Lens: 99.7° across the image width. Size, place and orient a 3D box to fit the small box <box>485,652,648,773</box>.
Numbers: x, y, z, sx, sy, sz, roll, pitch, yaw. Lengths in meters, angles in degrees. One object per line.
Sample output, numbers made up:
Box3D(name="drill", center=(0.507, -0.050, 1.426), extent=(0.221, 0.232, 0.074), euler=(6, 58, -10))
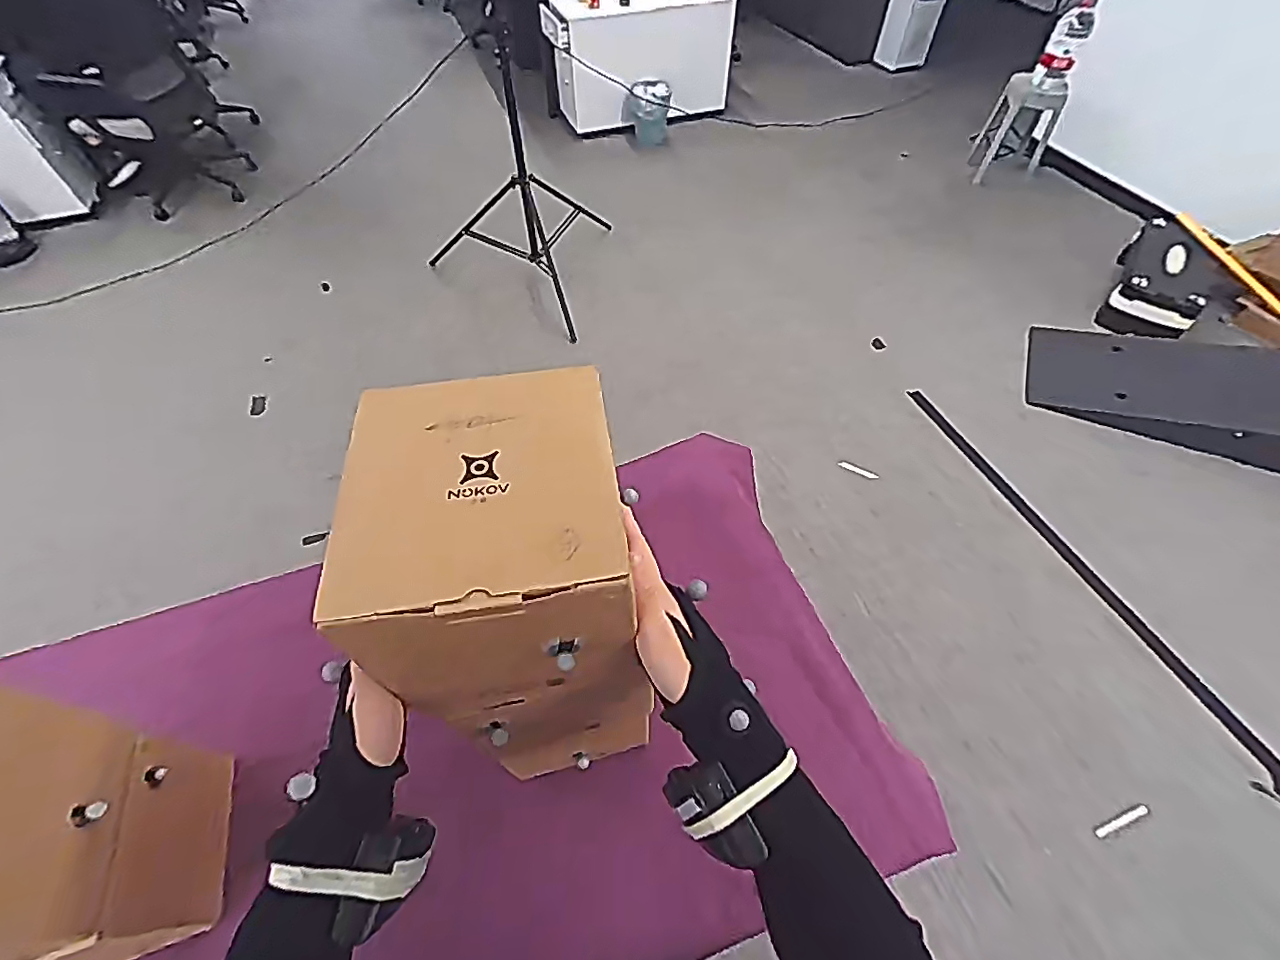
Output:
Box3D(name="small box", center=(-0.092, 0.234, 0.662), extent=(0.168, 0.176, 0.179), euler=(-13, 55, -8))

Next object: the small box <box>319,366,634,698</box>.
Box3D(name="small box", center=(-0.097, 0.044, 0.394), extent=(0.168, 0.176, 0.179), euler=(-7, 52, -6))

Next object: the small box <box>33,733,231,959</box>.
Box3D(name="small box", center=(-0.557, 0.389, 0.550), extent=(0.168, 0.176, 0.179), euler=(-16, 55, -11))

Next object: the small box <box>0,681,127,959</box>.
Box3D(name="small box", center=(-0.560, 0.288, 0.421), extent=(0.168, 0.176, 0.179), euler=(-17, 55, -12))
